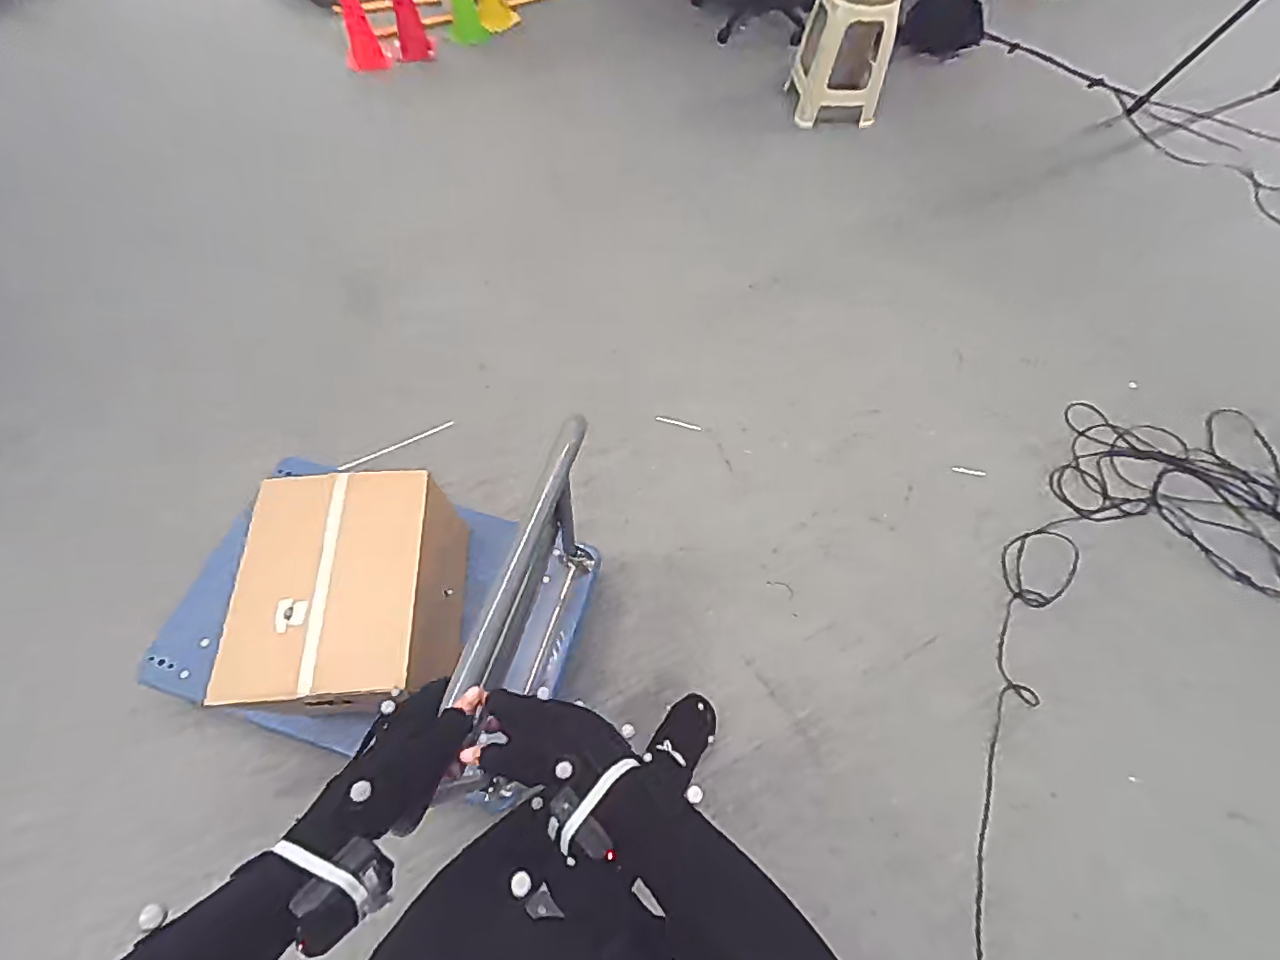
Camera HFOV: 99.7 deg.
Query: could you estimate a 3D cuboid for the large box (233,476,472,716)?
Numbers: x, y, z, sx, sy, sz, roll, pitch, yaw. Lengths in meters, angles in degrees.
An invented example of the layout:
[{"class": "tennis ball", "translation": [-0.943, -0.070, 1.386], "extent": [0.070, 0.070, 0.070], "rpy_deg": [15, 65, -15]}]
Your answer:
[{"class": "large box", "translation": [-0.535, 0.243, 1.102], "extent": [0.320, 0.320, 0.408], "rpy_deg": [-5, 64, -3]}]
